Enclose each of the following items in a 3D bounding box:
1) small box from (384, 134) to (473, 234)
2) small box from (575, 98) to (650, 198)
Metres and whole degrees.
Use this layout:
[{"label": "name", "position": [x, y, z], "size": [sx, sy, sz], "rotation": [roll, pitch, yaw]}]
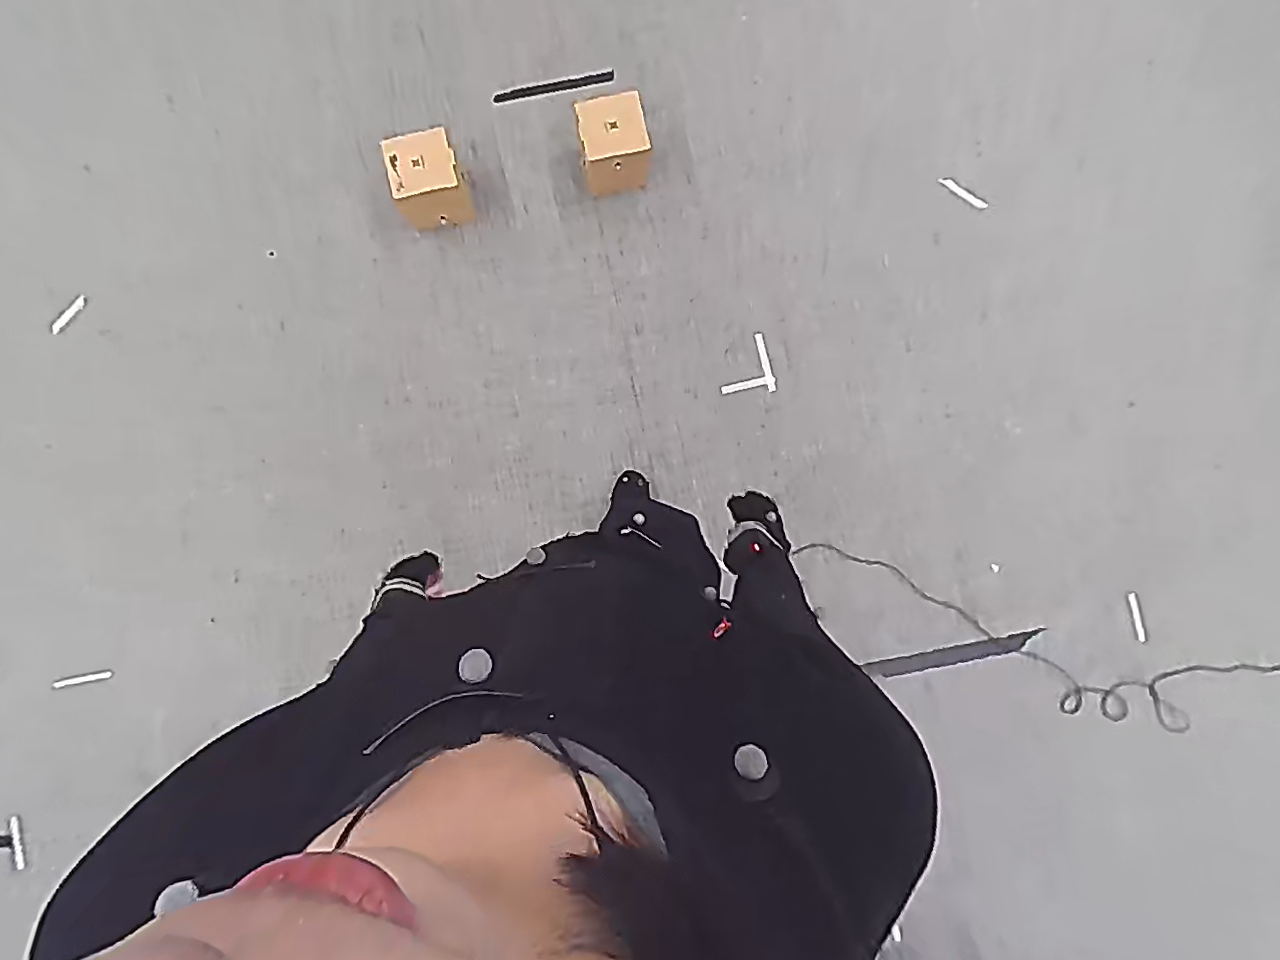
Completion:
[{"label": "small box", "position": [-0.575, -0.813, 1.498], "size": [0.179, 0.176, 0.168], "rotation": [-13, 87, -2]}, {"label": "small box", "position": [-0.075, -0.921, 1.517], "size": [0.179, 0.176, 0.168], "rotation": [-13, 88, -3]}]
